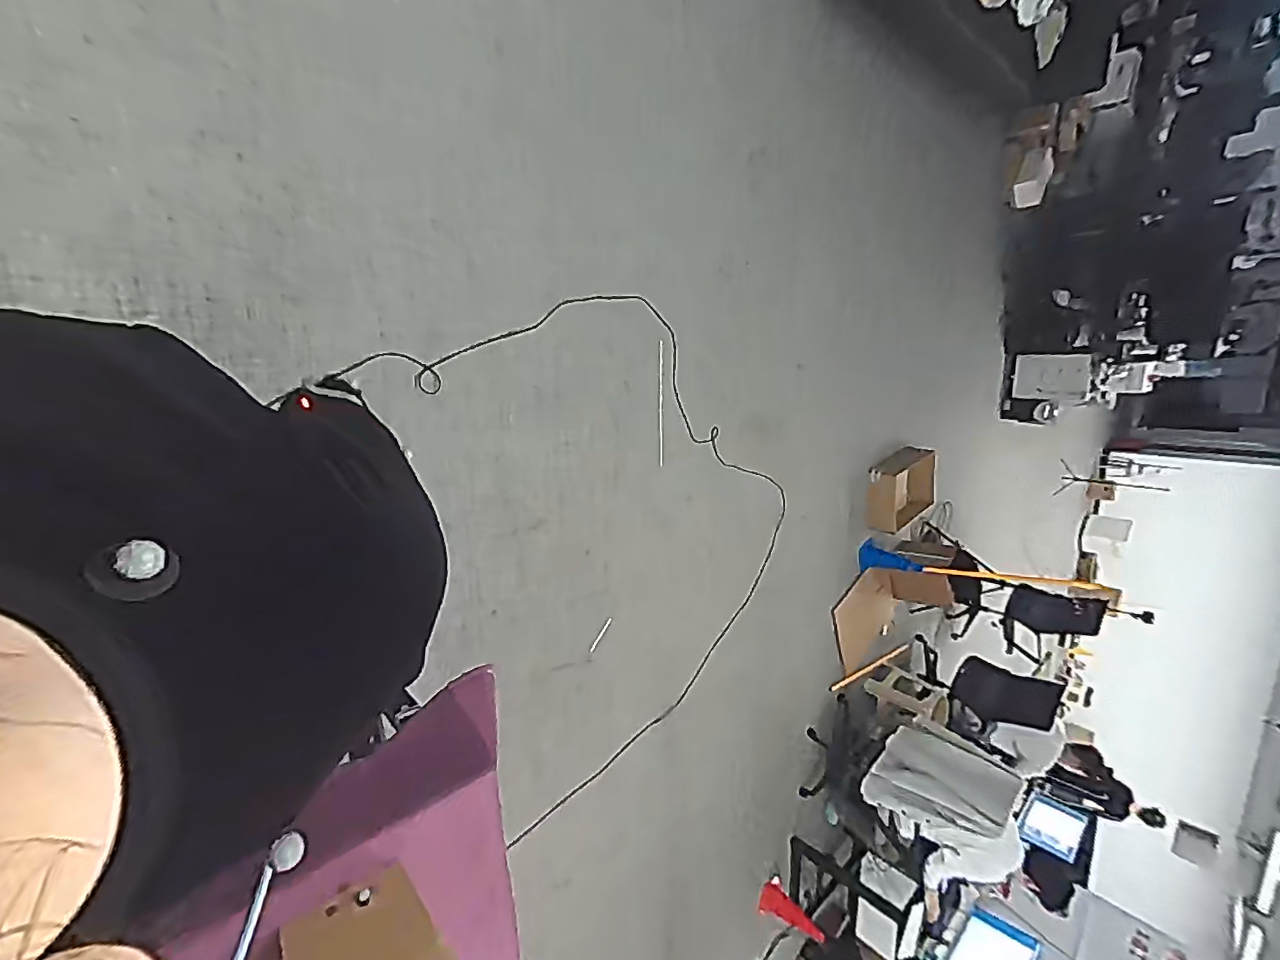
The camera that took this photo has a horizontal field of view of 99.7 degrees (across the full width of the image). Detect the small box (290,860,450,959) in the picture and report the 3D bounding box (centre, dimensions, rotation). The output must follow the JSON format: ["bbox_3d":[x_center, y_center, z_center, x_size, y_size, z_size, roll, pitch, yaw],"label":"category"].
[{"bbox_3d":[-0.381,0.702,0.766,0.168,0.176,0.179,-8,103,-42],"label":"small box"}]
